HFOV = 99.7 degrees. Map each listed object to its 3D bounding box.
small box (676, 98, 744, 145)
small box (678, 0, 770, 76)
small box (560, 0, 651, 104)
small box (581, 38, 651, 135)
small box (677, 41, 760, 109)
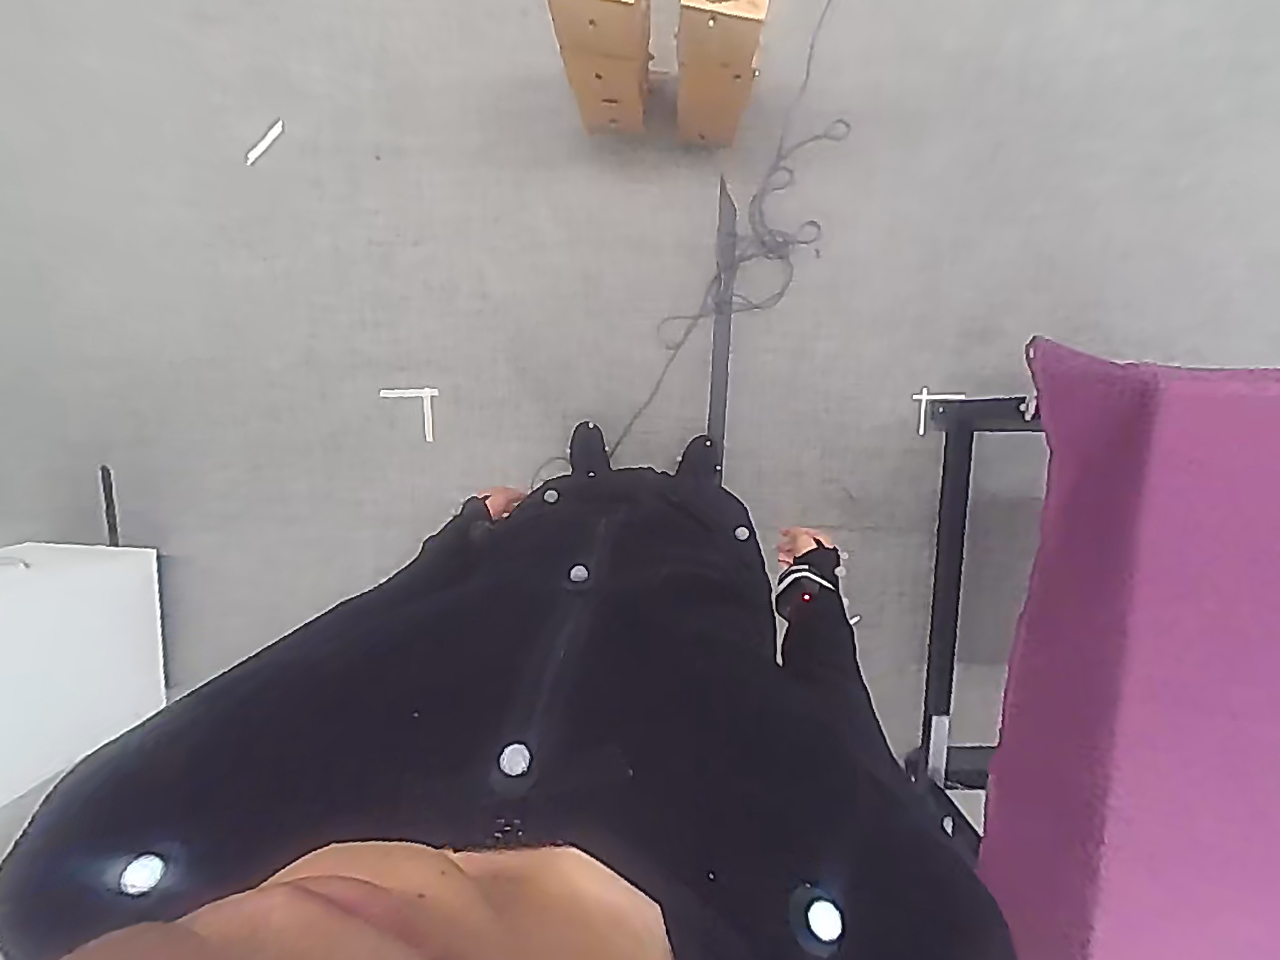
[{"bbox_3d":[0.182,-1.014,1.413,0.168,0.176,0.179,2,97,1],"label":"small box"},{"bbox_3d":[0.174,-0.972,1.090,0.168,0.176,0.179,11,96,0],"label":"small box"},{"bbox_3d":[-0.073,-1.010,1.250,0.179,0.176,0.168,11,97,1],"label":"small box"},{"bbox_3d":[-0.063,-1.044,1.411,0.168,0.176,0.179,7,97,1],"label":"small box"},{"bbox_3d":[0.179,-0.994,1.252,0.179,0.176,0.168,4,97,1],"label":"small box"}]
